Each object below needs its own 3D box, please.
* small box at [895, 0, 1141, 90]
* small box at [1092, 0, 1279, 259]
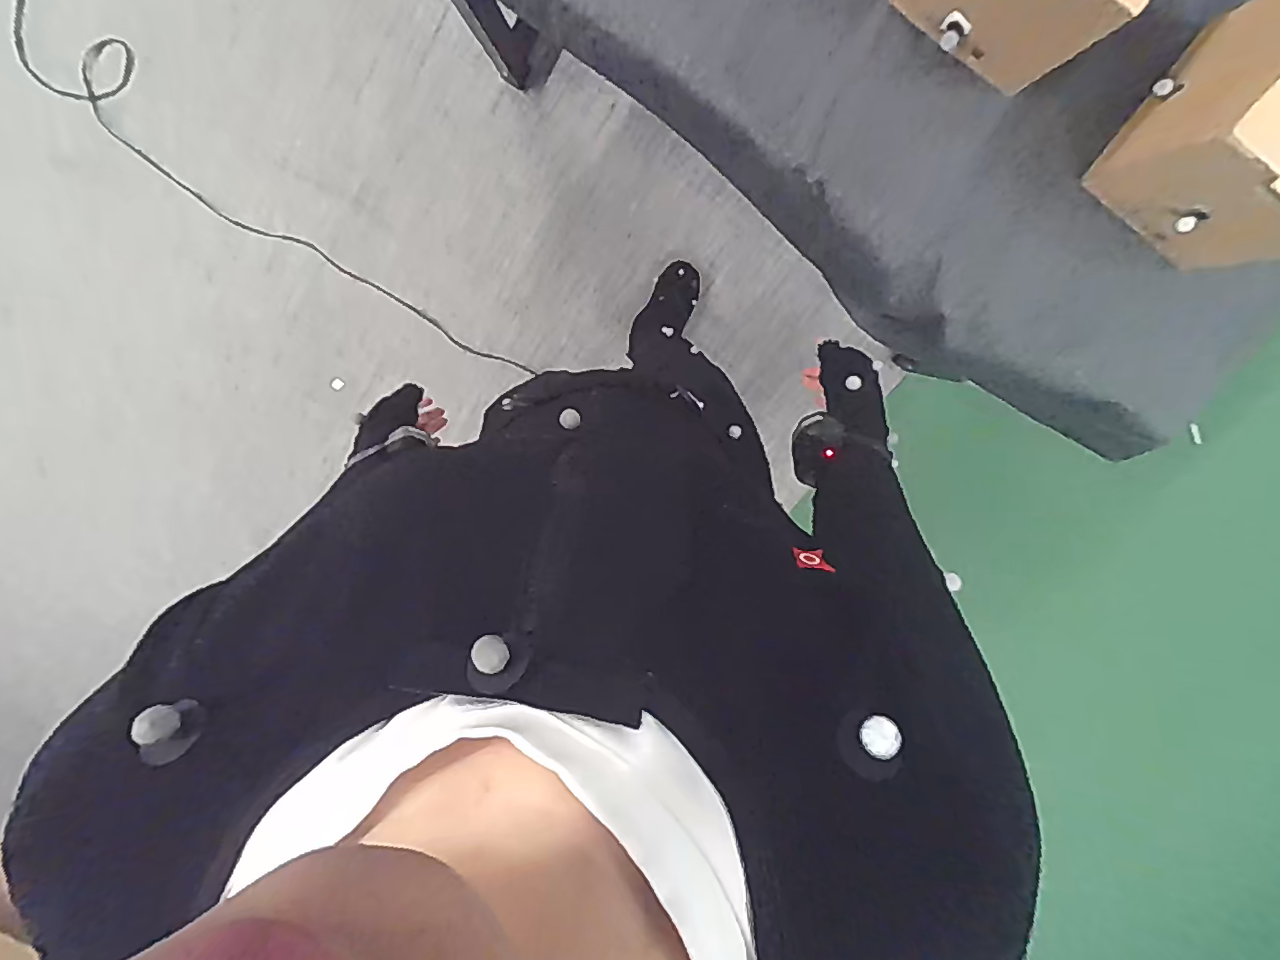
[{"bbox_3d":[0.361,-0.497,0.467,0.168,0.176,0.179,31,106,-6],"label":"small box"},{"bbox_3d":[0.588,-0.332,0.510,0.168,0.176,0.179,33,105,-8],"label":"small box"}]
